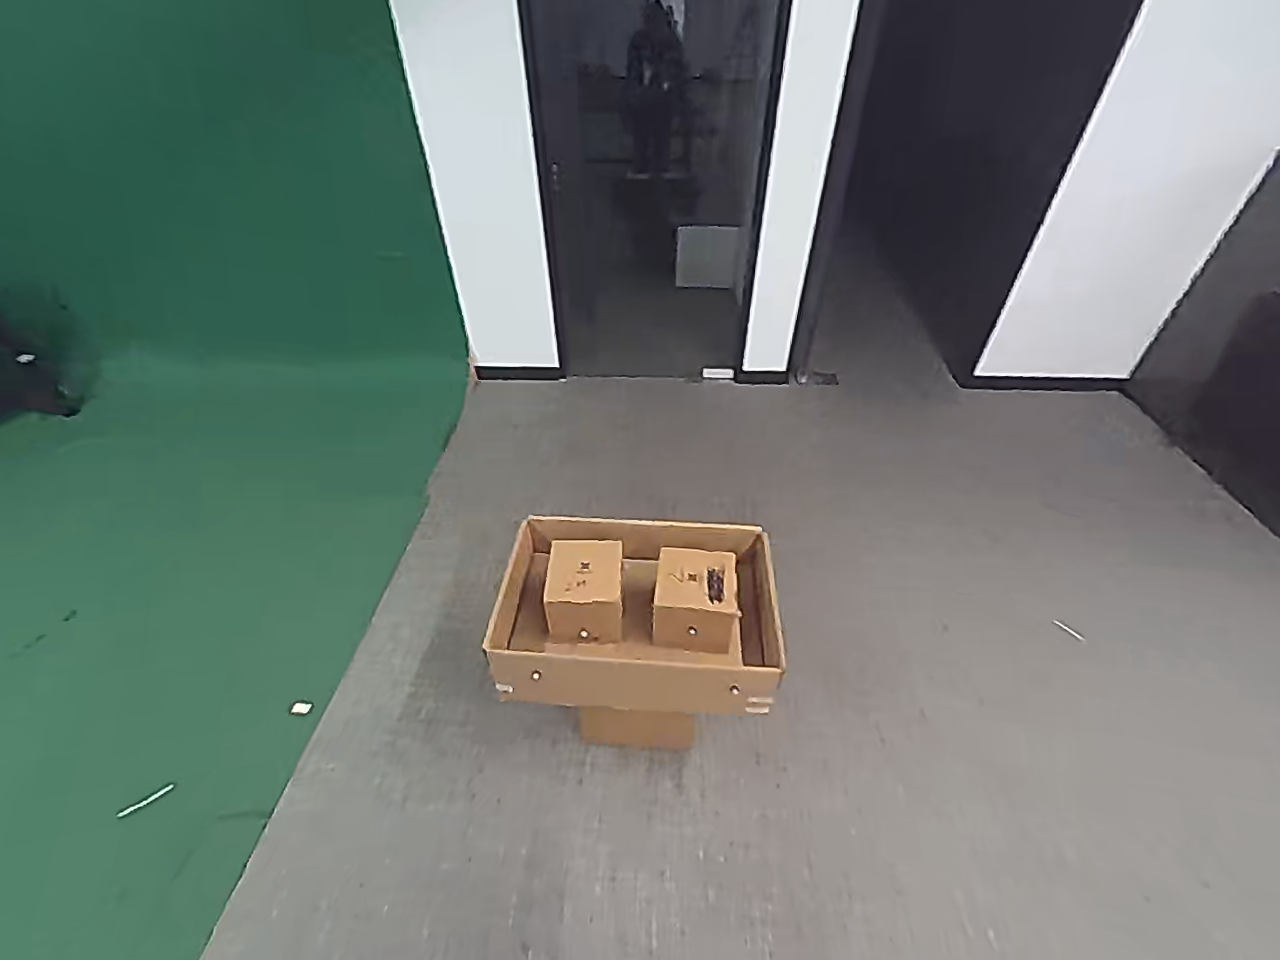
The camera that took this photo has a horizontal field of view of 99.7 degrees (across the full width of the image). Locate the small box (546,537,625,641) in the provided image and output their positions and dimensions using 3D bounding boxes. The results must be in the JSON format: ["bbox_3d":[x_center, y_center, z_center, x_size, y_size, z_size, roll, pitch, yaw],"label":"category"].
[{"bbox_3d":[-0.121,0.254,1.267,0.168,0.176,0.179,1,42,0],"label":"small box"}]
